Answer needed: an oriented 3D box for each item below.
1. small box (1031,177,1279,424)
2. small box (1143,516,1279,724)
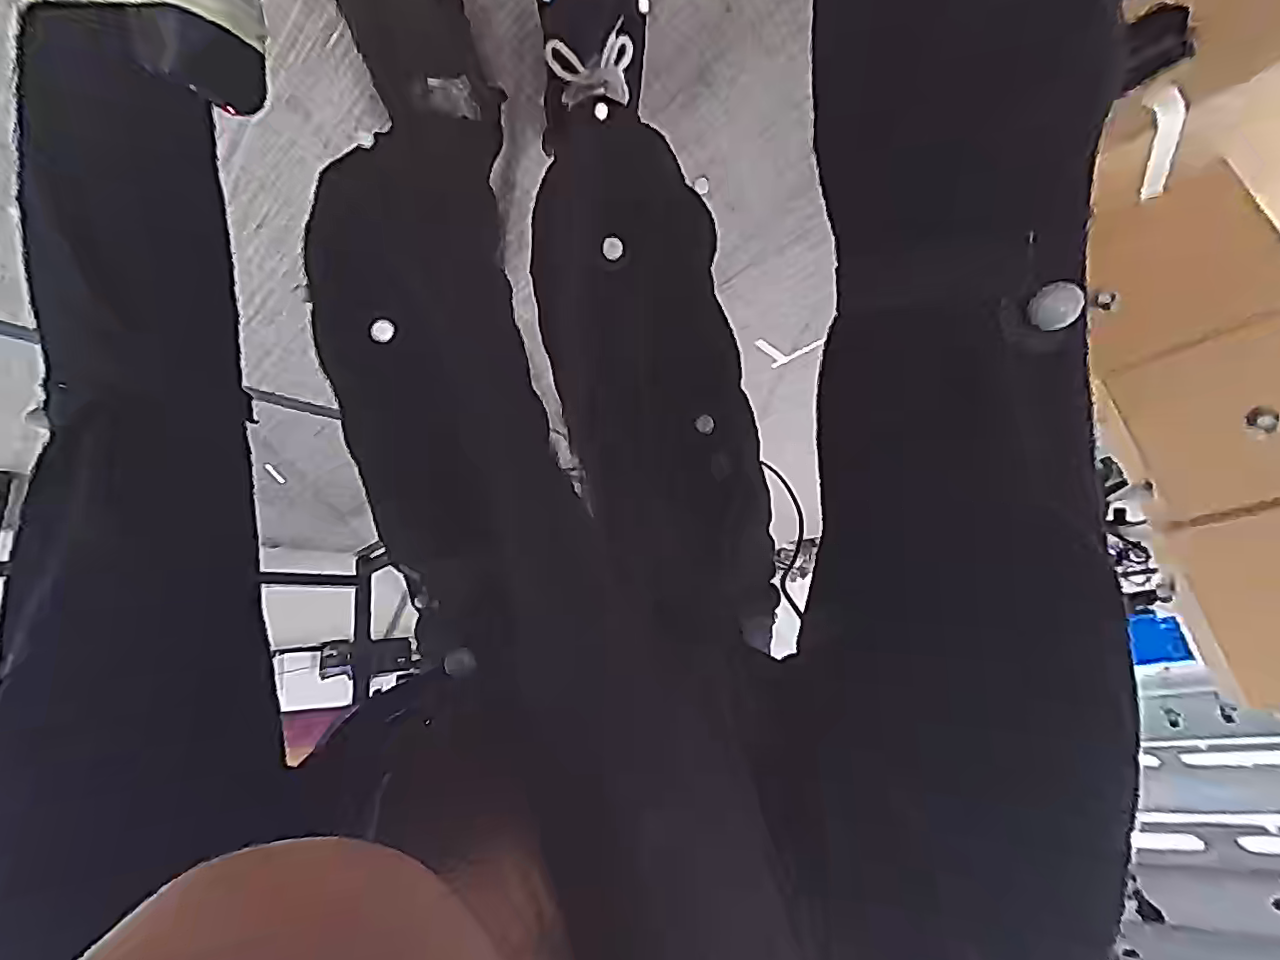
[{"bbox_3d":[0.574,-0.189,0.614,0.179,0.176,0.168,-25,156,35],"label":"small box"},{"bbox_3d":[0.634,0.119,0.512,0.179,0.176,0.168,-23,157,33],"label":"small box"}]
